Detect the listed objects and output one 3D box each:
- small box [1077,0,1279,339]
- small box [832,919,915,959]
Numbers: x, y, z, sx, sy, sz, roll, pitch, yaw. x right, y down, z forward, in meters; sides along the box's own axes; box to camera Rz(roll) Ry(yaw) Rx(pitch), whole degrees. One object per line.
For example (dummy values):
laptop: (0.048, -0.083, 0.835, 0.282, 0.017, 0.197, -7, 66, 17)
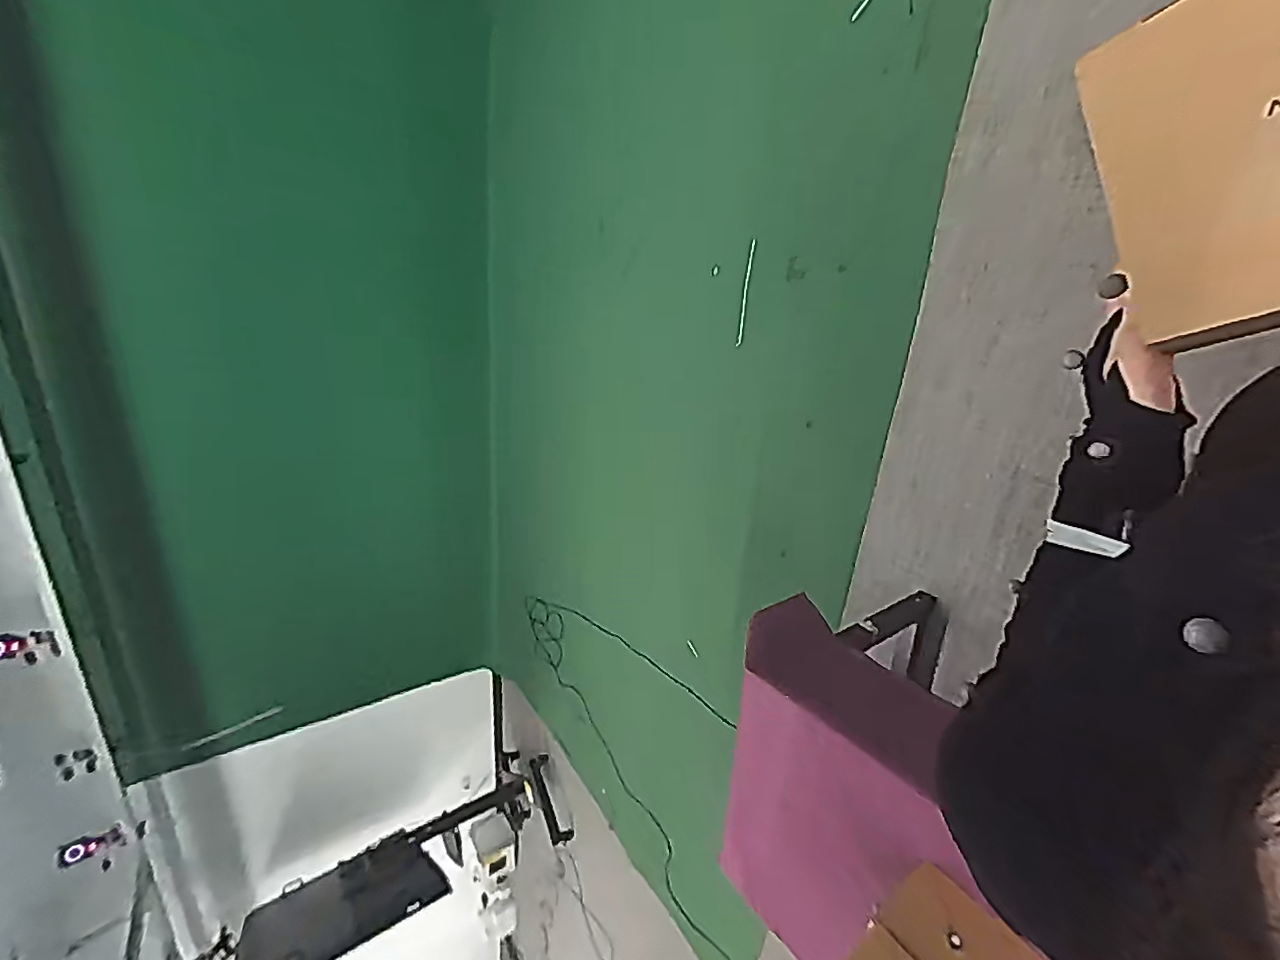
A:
small box: (0.386, -0.190, 0.311, 0.168, 0.176, 0.179, -13, 88, 48)
small box: (0.316, 0.753, 0.723, 0.168, 0.176, 0.179, 33, 123, 46)
